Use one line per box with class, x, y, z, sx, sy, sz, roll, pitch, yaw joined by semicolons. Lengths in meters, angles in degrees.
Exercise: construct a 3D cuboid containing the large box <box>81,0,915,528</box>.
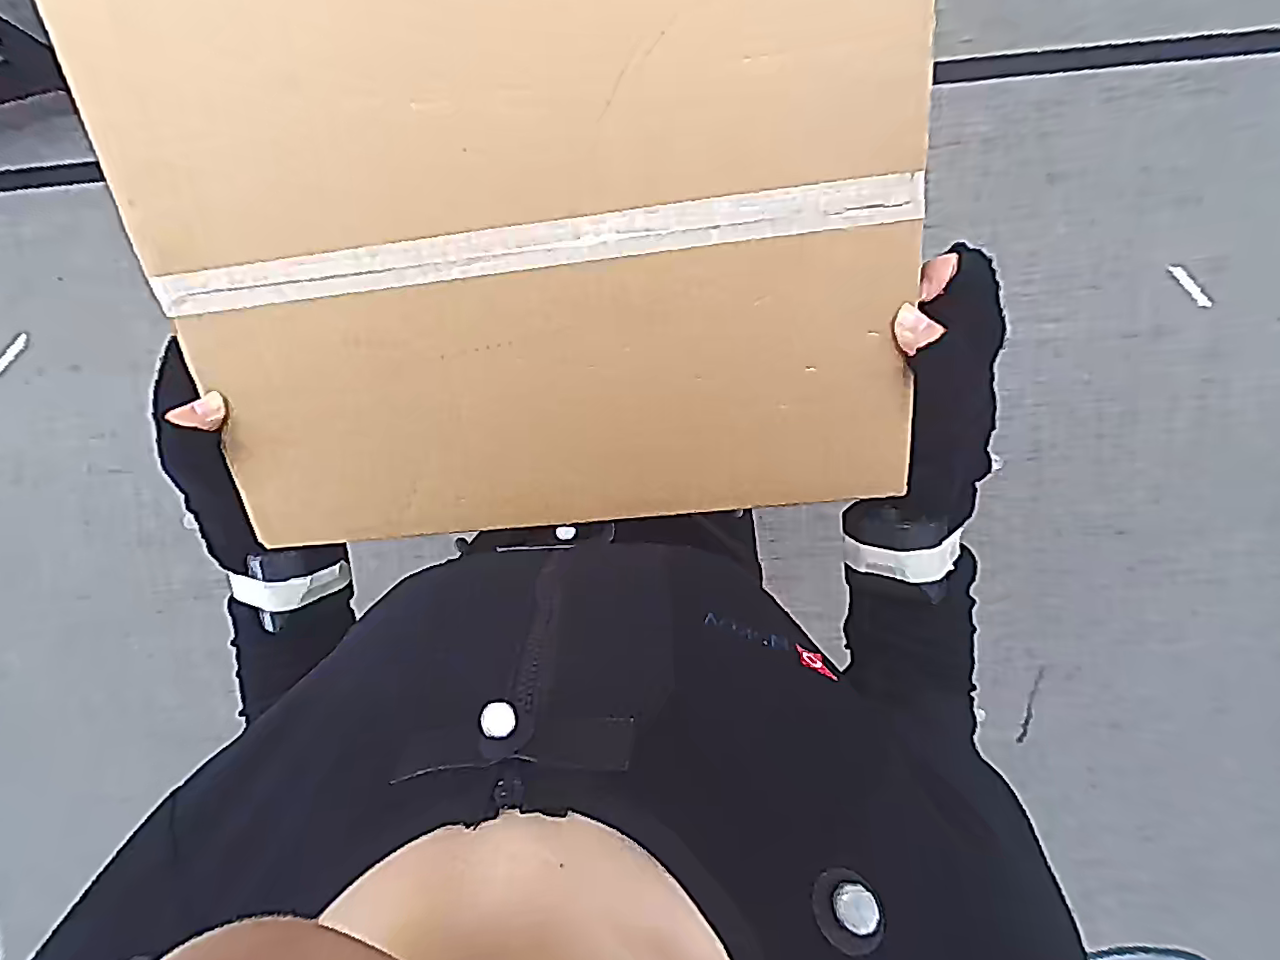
large box;-0.055;-0.180;0.430;0.408;0.320;0.320;-5;111;5
